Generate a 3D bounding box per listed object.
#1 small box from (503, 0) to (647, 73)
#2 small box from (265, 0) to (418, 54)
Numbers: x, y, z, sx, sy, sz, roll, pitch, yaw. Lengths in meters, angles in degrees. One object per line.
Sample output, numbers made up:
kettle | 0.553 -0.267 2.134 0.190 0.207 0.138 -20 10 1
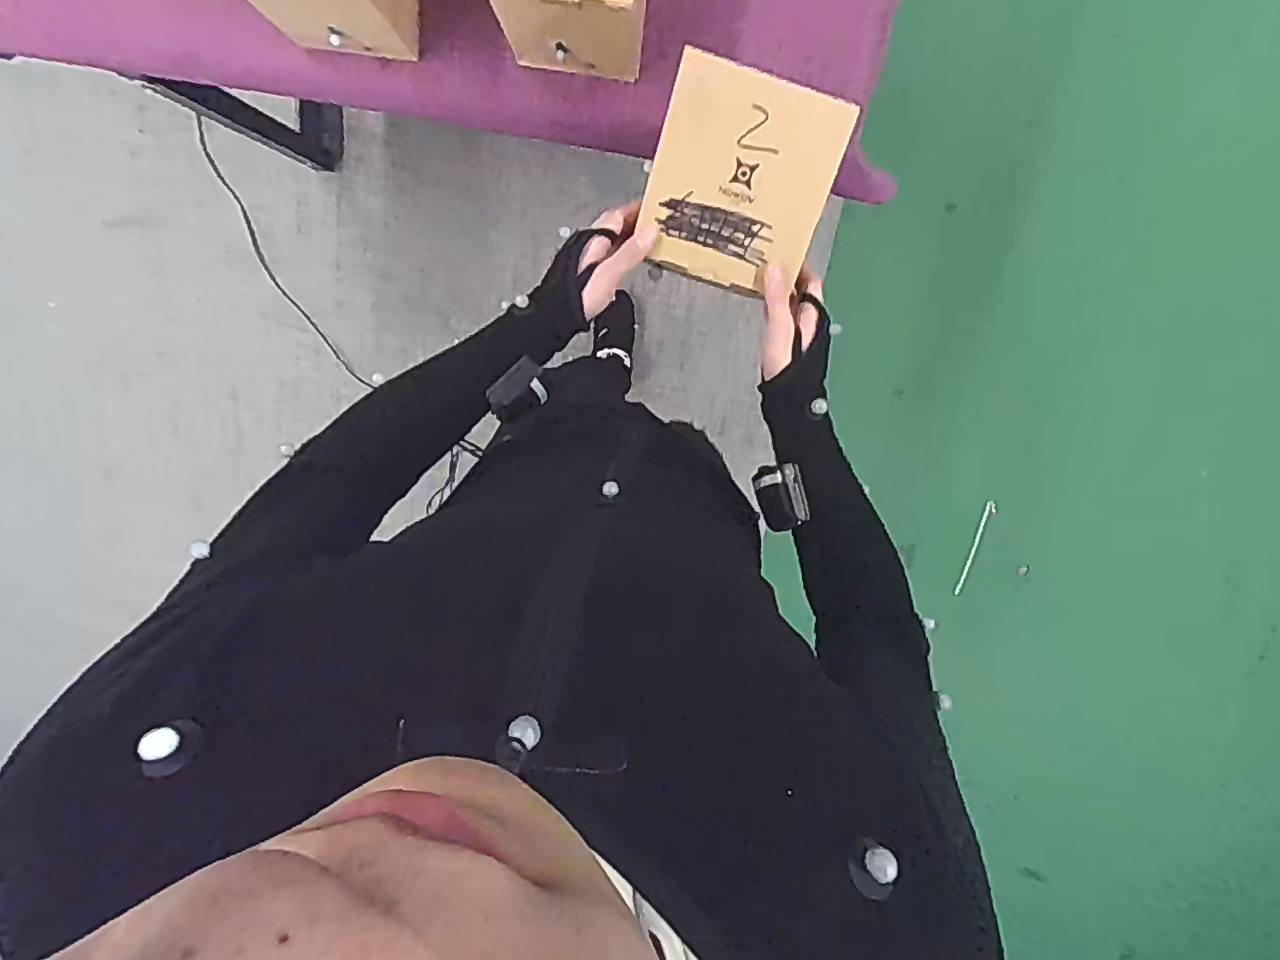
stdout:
small box | -0.073 -0.625 0.633 0.168 0.176 0.179 7 106 -2
small box | -0.369 -0.646 0.626 0.168 0.176 0.179 7 104 -1
